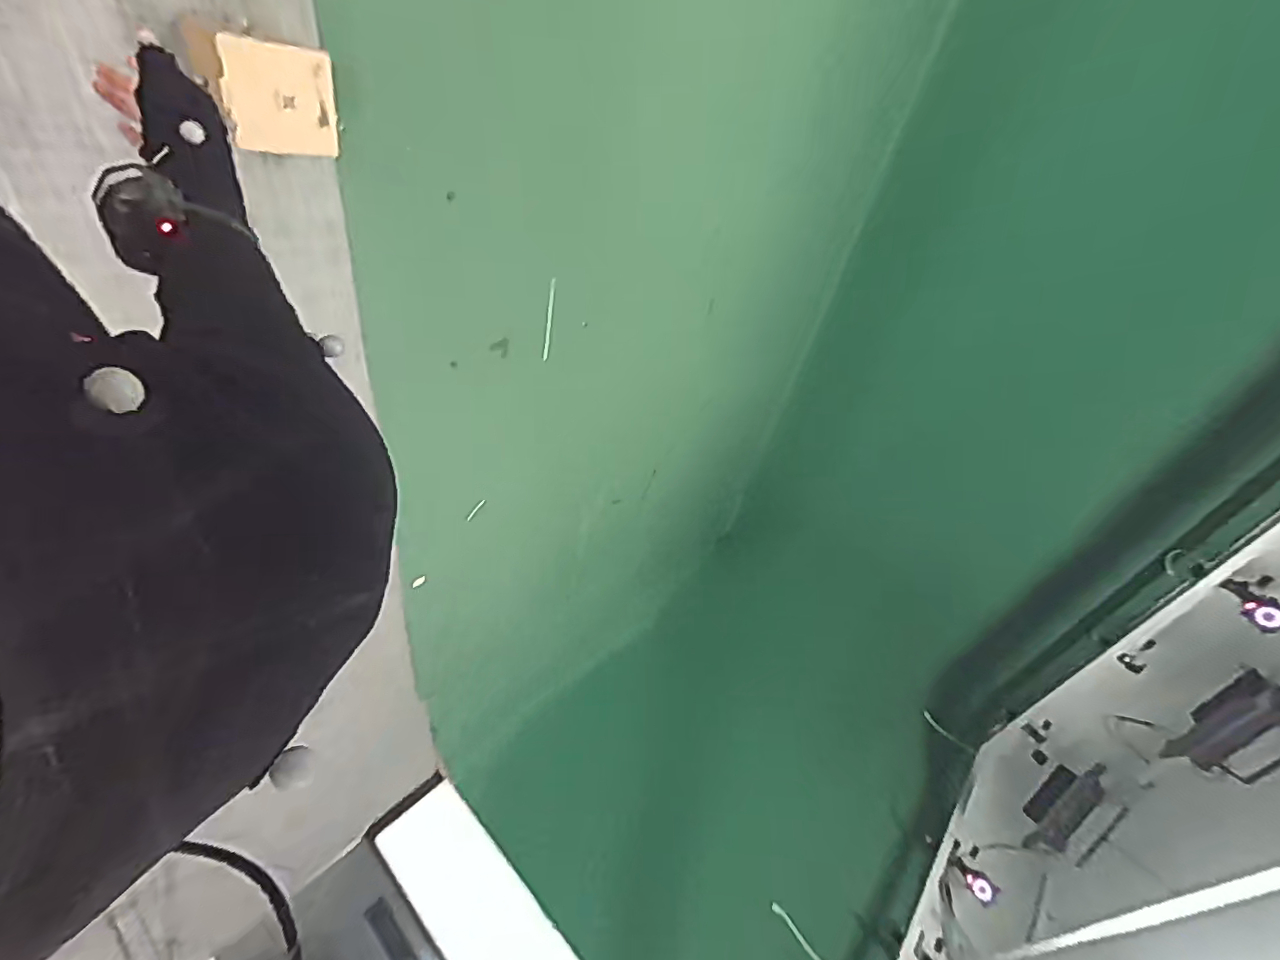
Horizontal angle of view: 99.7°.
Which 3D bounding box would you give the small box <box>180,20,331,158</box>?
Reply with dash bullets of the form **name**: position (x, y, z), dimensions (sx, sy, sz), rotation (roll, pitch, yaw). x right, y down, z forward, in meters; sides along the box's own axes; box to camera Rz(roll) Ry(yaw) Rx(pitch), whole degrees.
- **small box**: position (-0.695, -0.705, 0.981), dimensions (0.179, 0.176, 0.168), rotation (-25, 143, -43)
